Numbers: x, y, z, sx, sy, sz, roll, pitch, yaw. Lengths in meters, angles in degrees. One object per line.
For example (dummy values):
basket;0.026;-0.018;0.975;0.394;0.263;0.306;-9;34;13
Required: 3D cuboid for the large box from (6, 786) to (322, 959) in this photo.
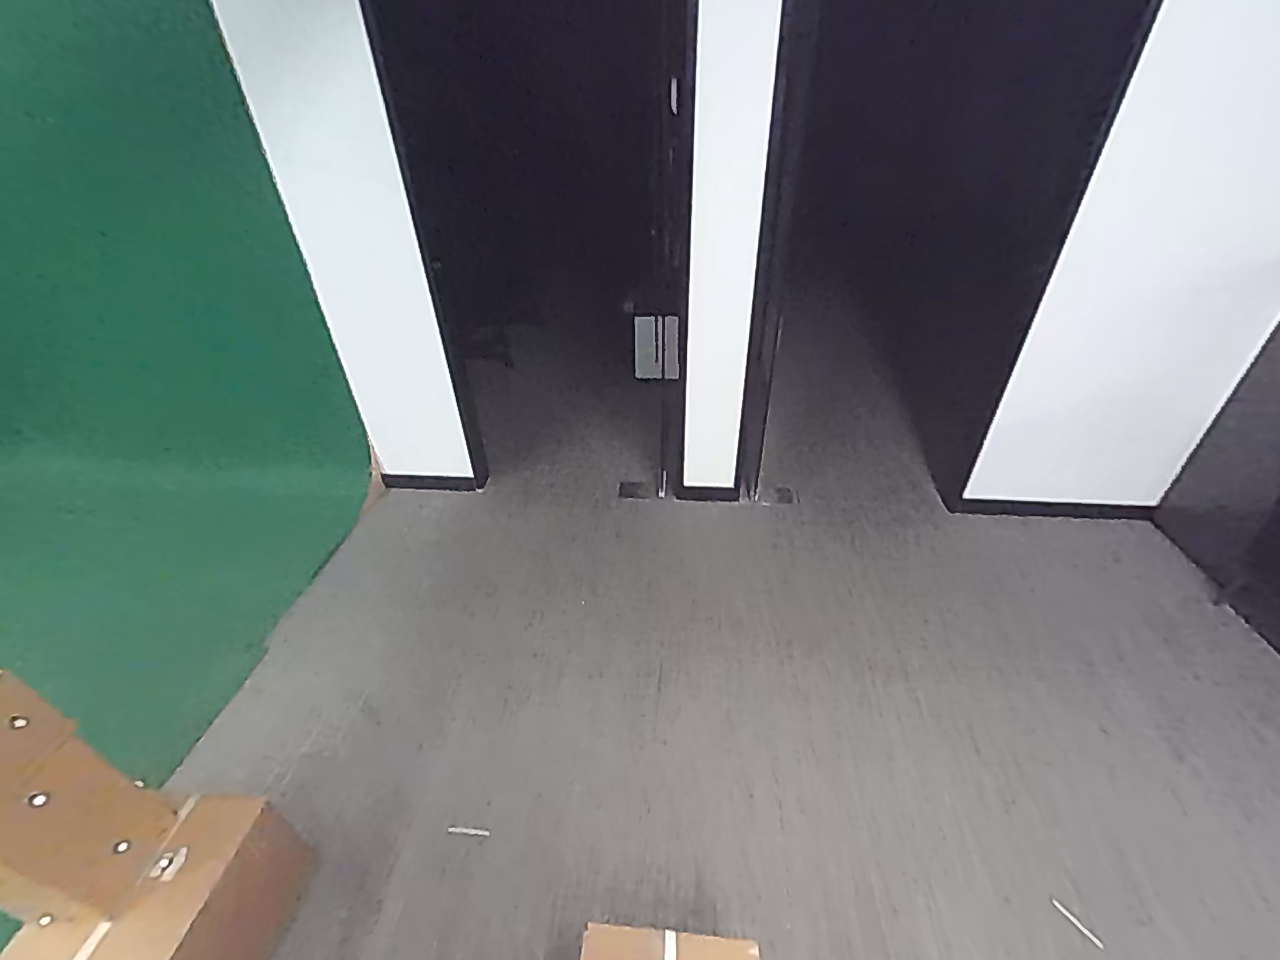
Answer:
large box;-0.951;0.912;1.103;0.320;0.320;0.408;1;34;5
